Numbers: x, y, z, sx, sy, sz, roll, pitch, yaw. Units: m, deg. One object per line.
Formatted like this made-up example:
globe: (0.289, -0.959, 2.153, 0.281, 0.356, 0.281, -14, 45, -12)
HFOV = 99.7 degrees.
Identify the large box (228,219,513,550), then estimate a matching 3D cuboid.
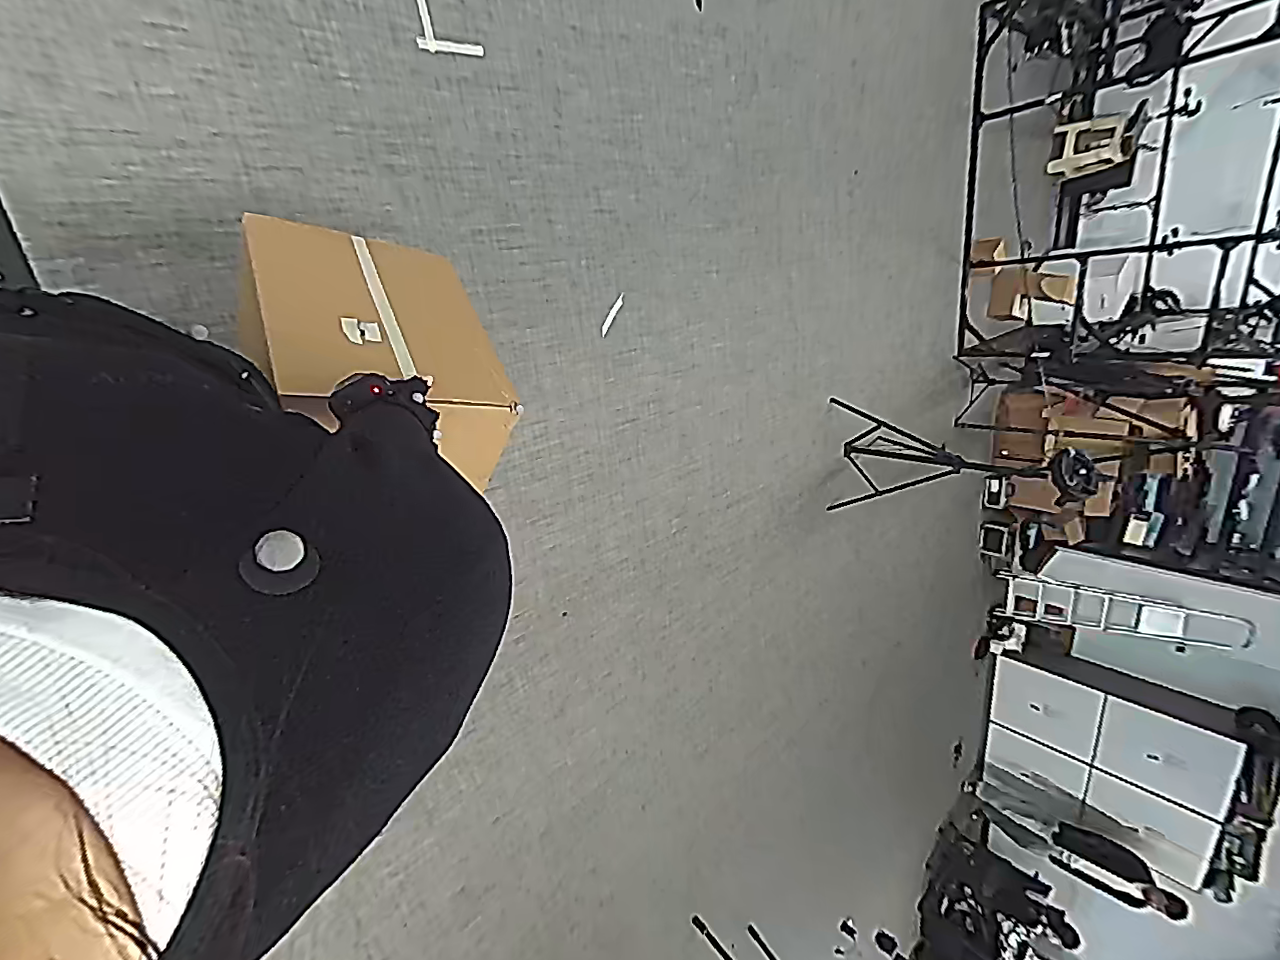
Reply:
large box: (-0.466, -0.146, 0.894, 0.320, 0.408, 0.320, -4, 143, -40)
